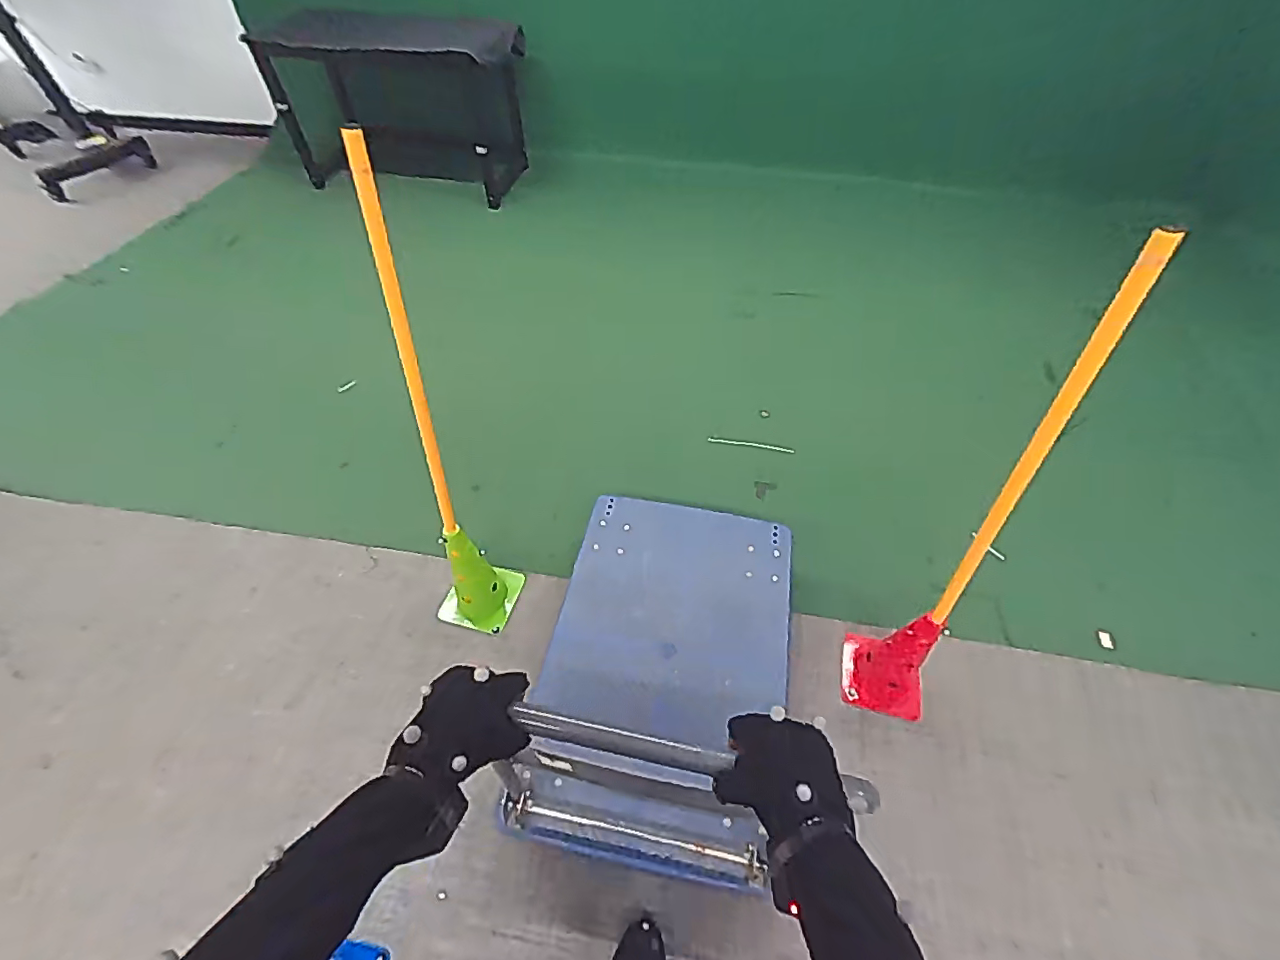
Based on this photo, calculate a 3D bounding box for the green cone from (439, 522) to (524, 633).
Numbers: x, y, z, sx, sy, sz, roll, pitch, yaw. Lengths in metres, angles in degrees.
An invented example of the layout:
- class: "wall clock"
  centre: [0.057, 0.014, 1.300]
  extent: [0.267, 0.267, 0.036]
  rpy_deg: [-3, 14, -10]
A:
- class: "green cone"
  centre: [-0.466, 0.233, 1.468]
  extent: [0.202, 0.368, 0.200]
  rpy_deg: [11, 51, 10]
